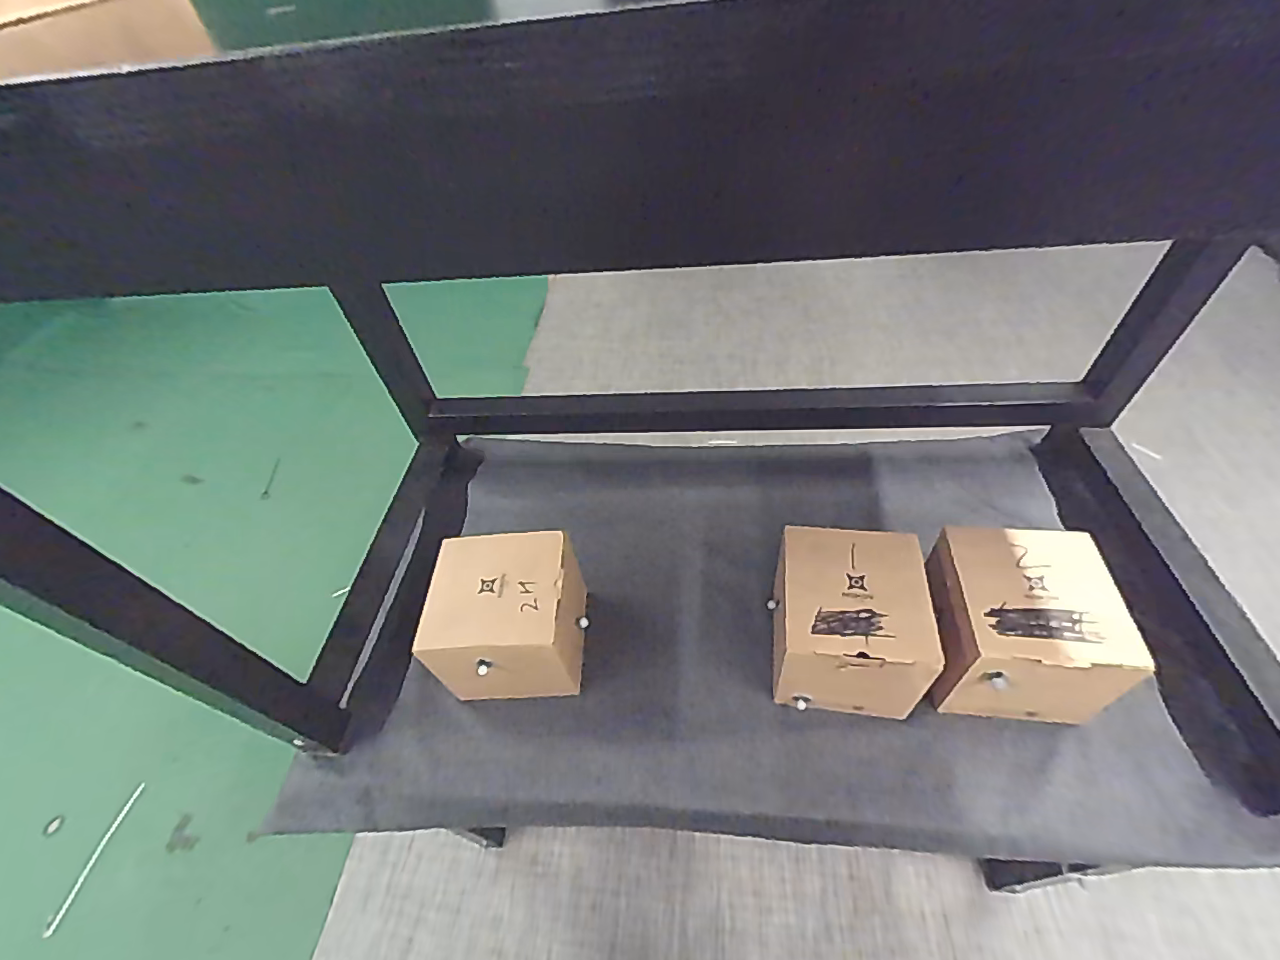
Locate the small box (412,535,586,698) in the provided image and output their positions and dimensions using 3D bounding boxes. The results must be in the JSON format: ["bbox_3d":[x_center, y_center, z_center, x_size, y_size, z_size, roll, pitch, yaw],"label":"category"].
[{"bbox_3d":[-0.181,0.195,0.756,0.179,0.176,0.168,-3,49,4],"label":"small box"}]
